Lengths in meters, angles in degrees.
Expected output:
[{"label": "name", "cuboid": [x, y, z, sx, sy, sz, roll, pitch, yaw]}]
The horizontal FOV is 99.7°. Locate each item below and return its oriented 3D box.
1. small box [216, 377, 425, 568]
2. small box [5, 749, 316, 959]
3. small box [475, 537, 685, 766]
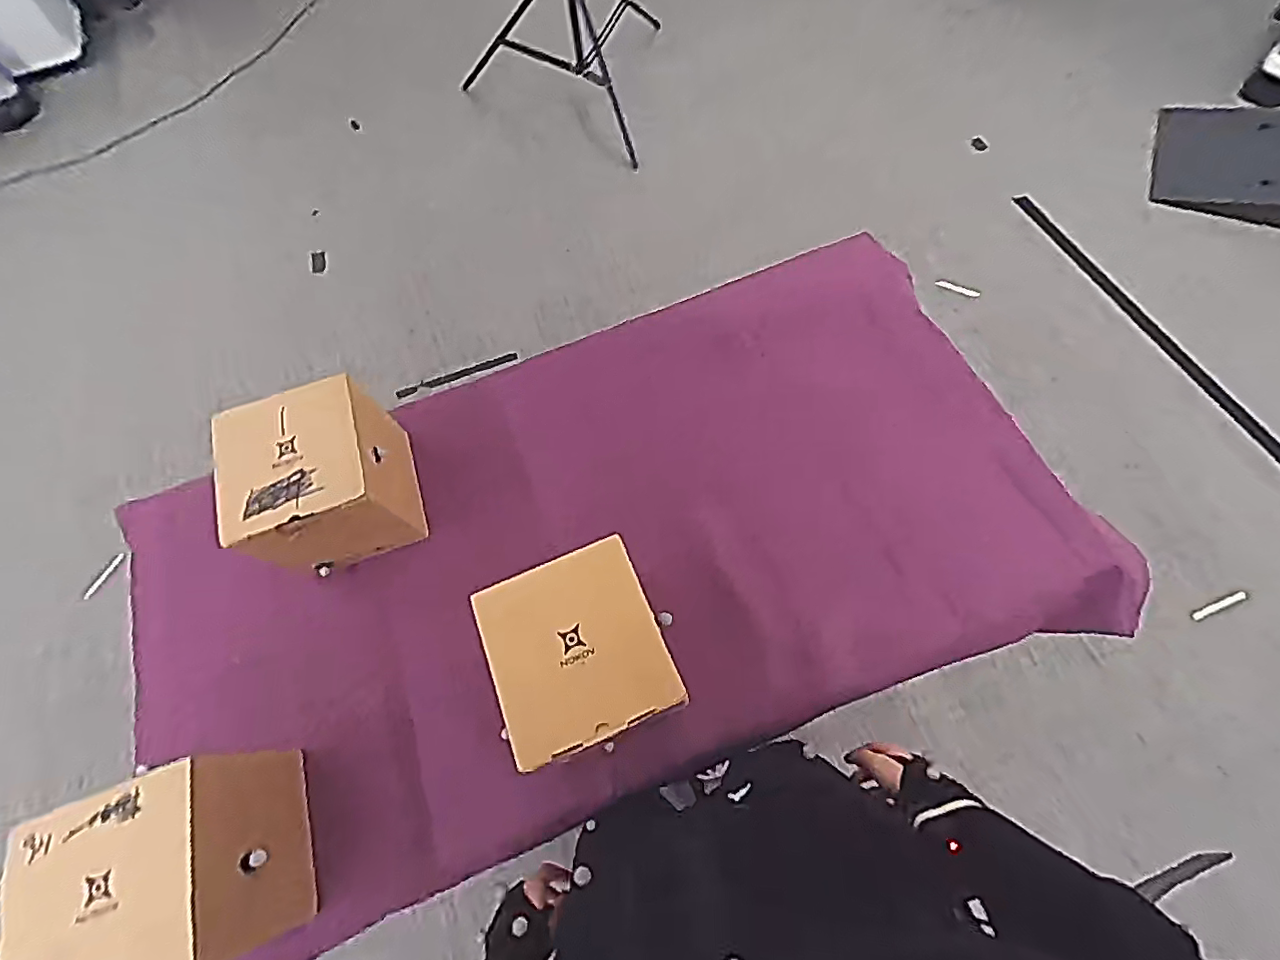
[{"label": "small box", "cuboid": [-0.402, 0.003, 0.702, 0.168, 0.176, 0.179, -20, 68, -5]}, {"label": "small box", "cuboid": [-0.457, 0.392, 0.542, 0.168, 0.176, 0.179, -20, 67, -5]}, {"label": "small box", "cuboid": [-0.060, 0.192, 0.602, 0.168, 0.176, 0.179, -23, 67, -6]}]
